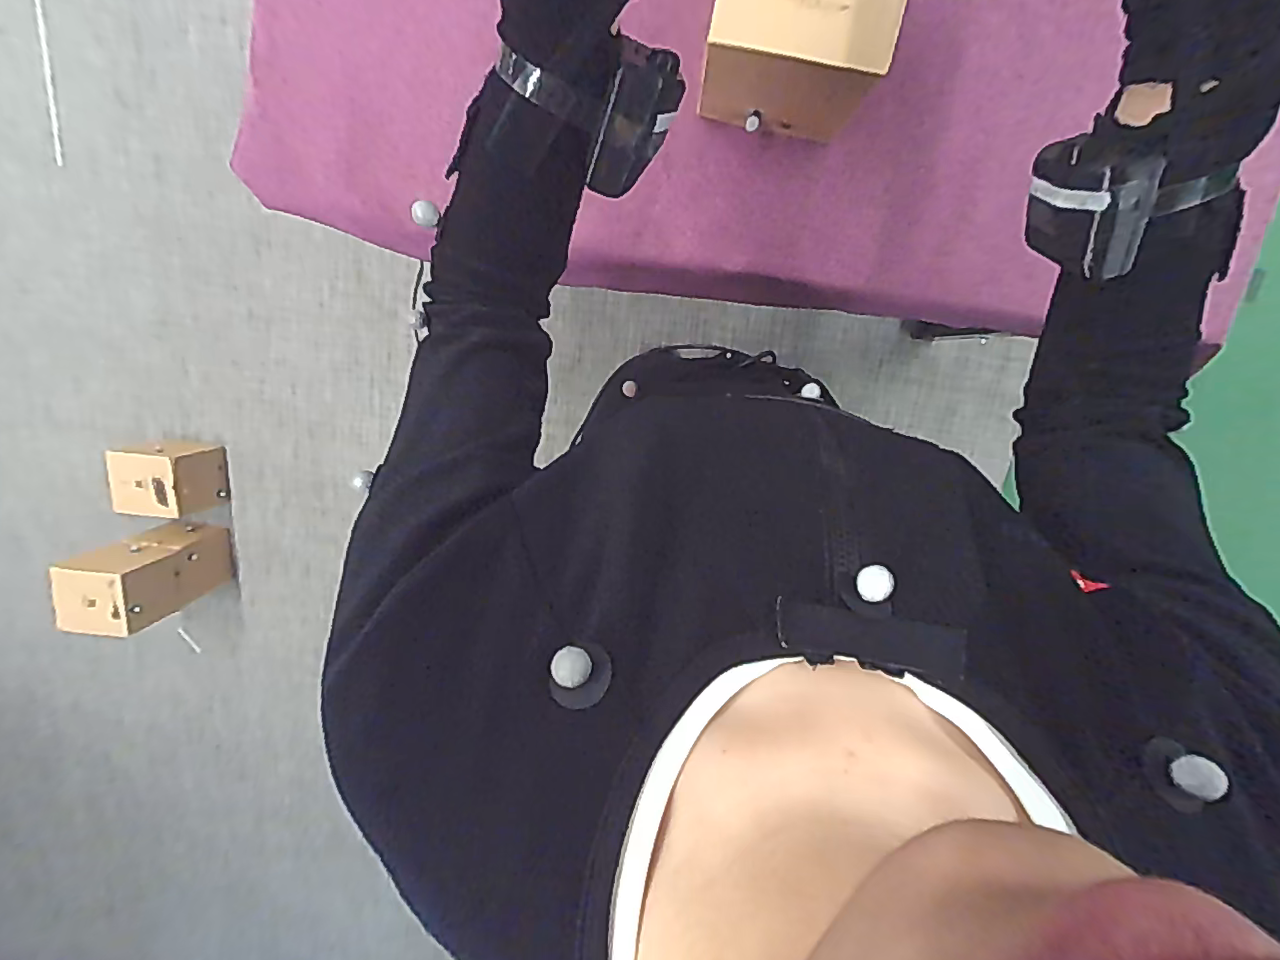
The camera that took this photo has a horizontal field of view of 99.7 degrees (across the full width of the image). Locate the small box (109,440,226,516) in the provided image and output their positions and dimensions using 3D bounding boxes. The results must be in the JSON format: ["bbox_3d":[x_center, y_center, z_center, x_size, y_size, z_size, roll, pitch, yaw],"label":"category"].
[{"bbox_3d":[-1.256,-0.011,1.455,0.179,0.176,0.168,6,103,2],"label":"small box"}]

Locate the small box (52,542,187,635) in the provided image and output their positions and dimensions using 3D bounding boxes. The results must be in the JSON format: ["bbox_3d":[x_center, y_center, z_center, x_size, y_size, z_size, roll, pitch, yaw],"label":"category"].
[{"bbox_3d":[-1.291,0.263,1.352,0.179,0.176,0.168,7,103,2],"label":"small box"}]

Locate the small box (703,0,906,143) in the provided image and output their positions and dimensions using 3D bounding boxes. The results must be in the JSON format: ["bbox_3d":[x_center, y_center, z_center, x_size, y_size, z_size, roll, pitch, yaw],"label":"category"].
[{"bbox_3d":[0.163,-0.480,0.545,0.168,0.176,0.179,12,103,1],"label":"small box"}]
